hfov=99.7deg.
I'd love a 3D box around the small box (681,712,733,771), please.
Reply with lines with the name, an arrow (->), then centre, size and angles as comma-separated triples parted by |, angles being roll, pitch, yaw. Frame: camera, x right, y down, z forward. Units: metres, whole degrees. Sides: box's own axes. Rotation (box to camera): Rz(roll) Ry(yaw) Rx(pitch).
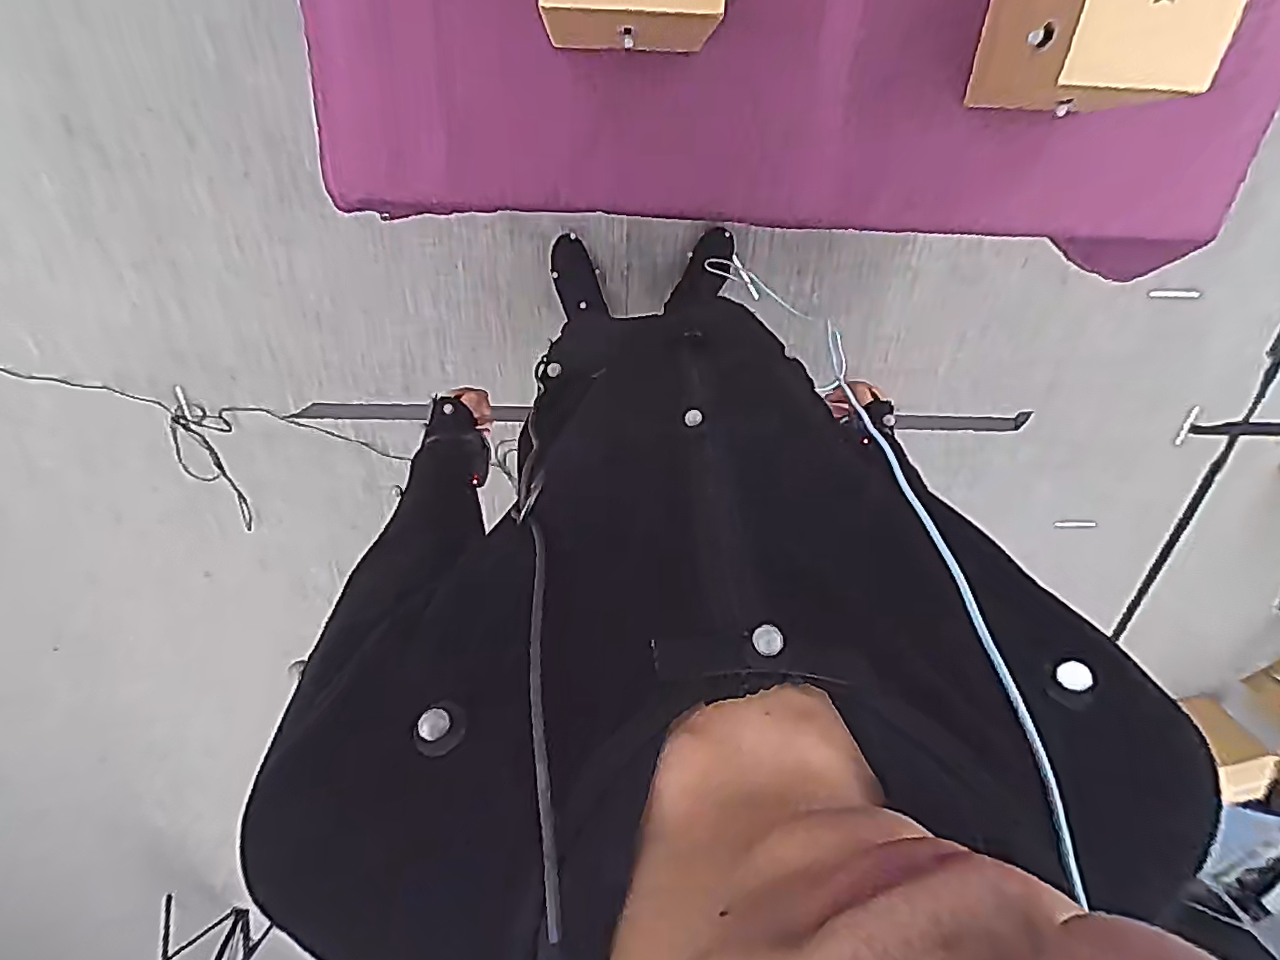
small box -> 0.282, 1.121, 2.324 | 0.179, 0.176, 0.168 | 6, 118, -9

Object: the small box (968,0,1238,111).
small box -> 0.501, -0.518, 0.591 | 0.168, 0.176, 0.179 | 0, 119, -5
